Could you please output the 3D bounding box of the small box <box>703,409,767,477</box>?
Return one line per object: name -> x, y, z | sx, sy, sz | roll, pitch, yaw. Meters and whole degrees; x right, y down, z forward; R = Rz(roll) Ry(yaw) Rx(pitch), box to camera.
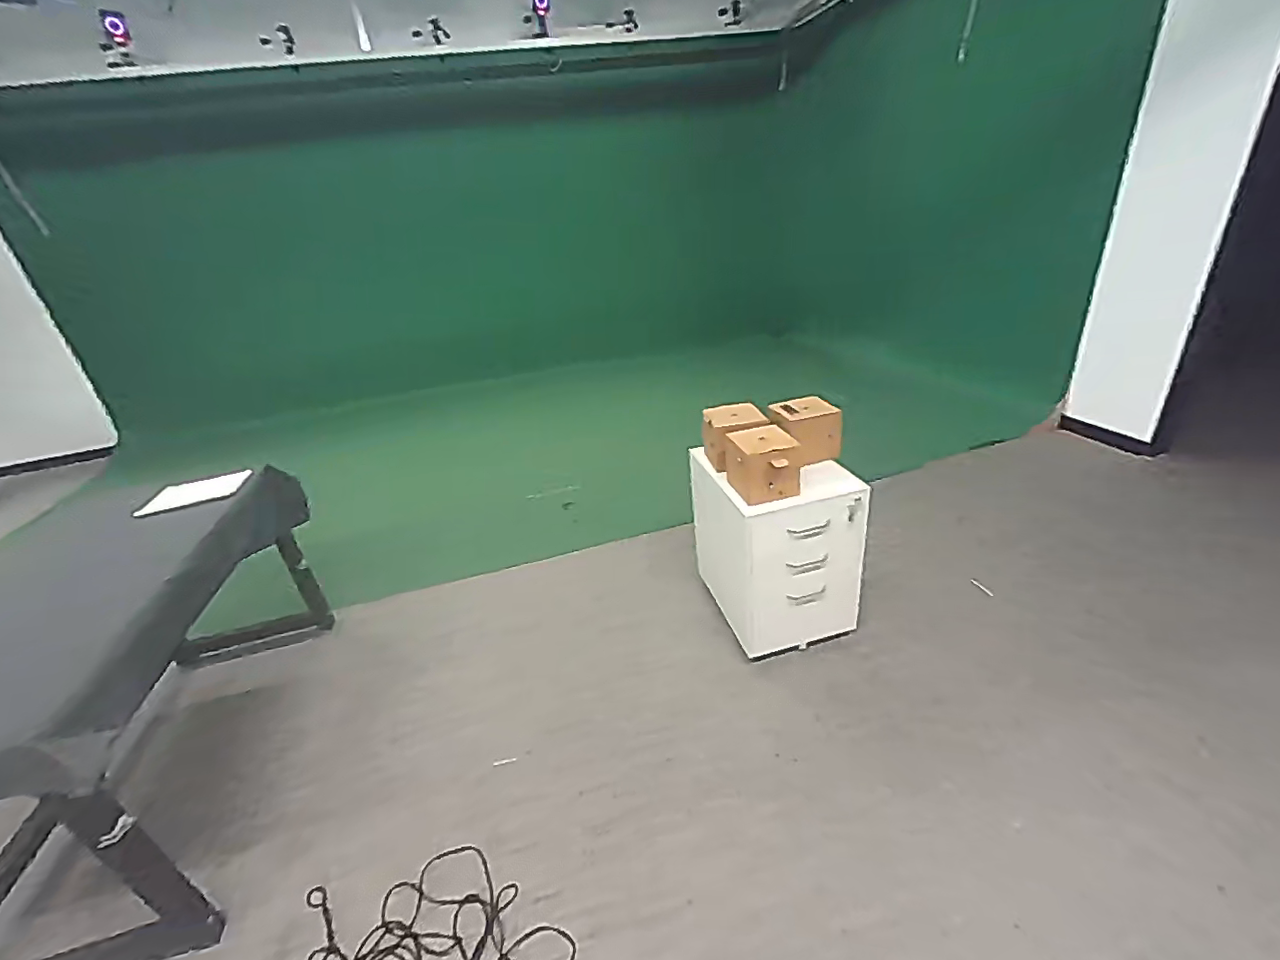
small box -> 0.318, -0.123, 1.817 | 0.179, 0.176, 0.168 | -9, 28, -6
